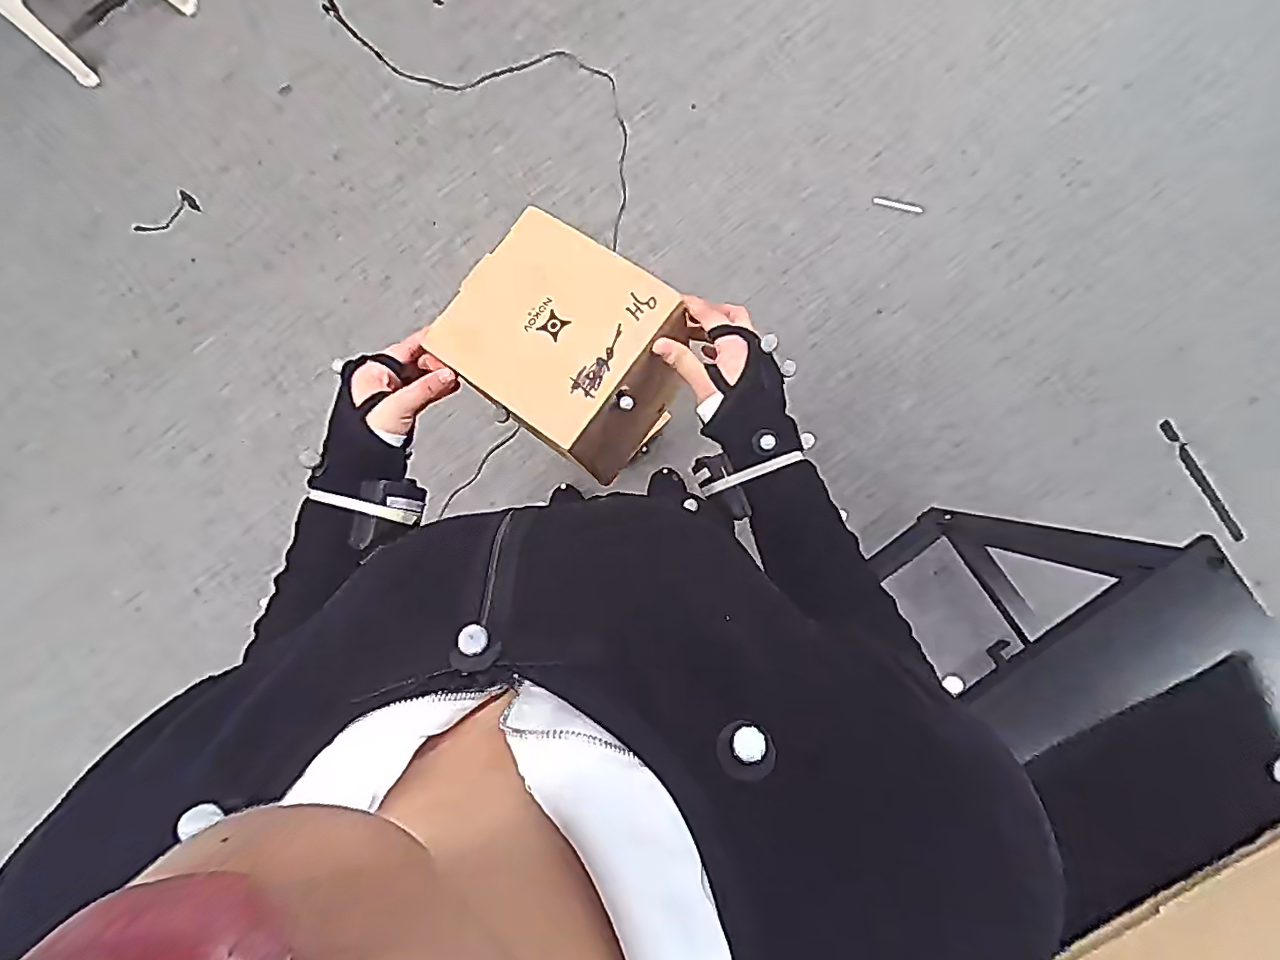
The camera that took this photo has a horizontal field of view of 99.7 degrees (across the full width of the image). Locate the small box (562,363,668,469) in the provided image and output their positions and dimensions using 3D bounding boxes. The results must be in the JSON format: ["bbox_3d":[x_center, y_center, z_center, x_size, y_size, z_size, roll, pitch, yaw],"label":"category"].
[{"bbox_3d":[-0.054,-0.141,1.253,0.179,0.176,0.168,-43,92,0],"label":"small box"}]
